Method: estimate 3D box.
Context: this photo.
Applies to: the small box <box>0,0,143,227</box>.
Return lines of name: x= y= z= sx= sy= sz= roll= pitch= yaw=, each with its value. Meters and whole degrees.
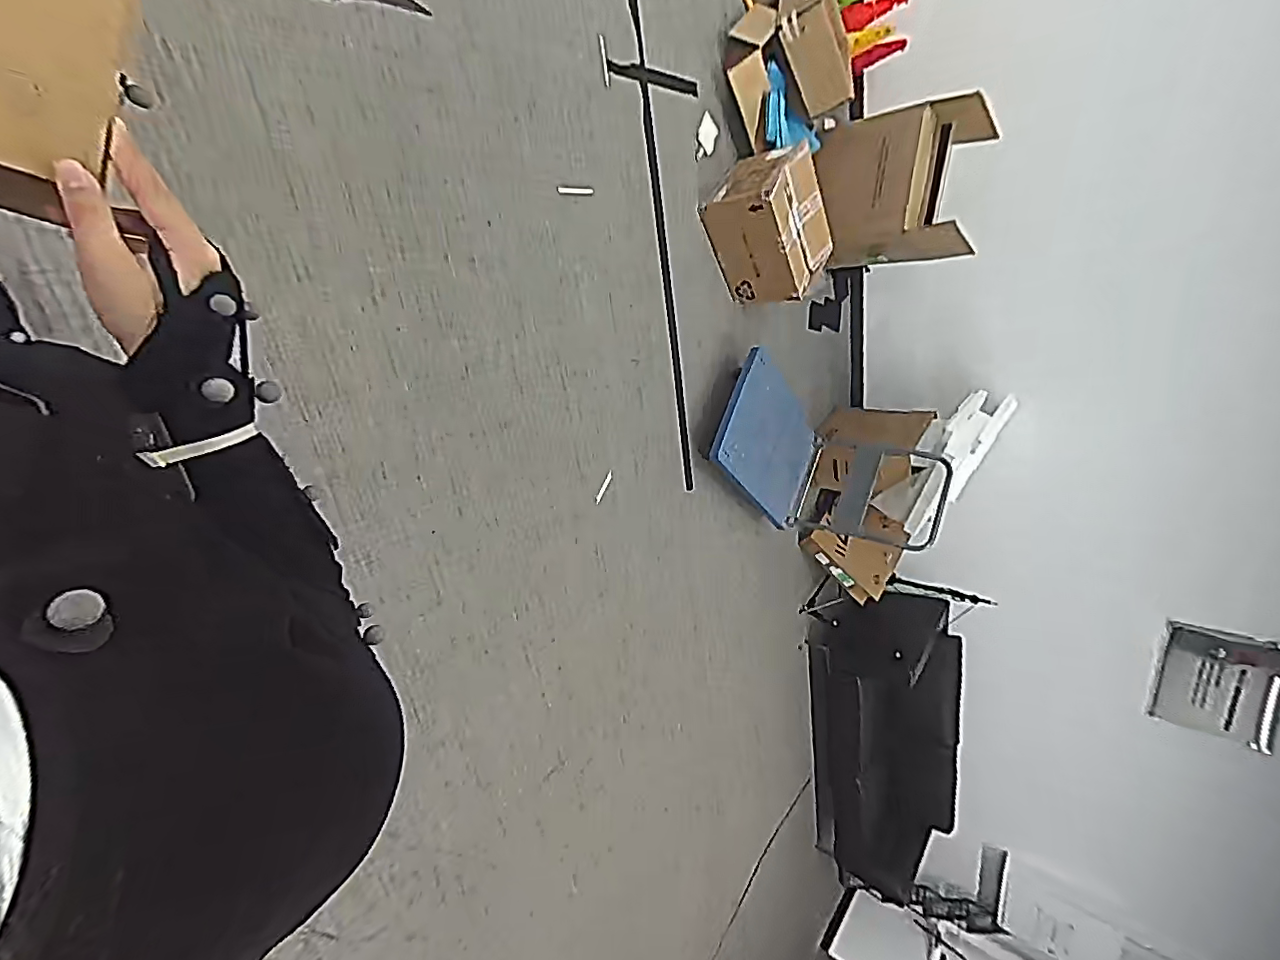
small box: x=-0.397 y=-0.265 z=0.298 sx=0.168 sy=0.176 sz=0.179 roll=9 pitch=93 yaw=-46
